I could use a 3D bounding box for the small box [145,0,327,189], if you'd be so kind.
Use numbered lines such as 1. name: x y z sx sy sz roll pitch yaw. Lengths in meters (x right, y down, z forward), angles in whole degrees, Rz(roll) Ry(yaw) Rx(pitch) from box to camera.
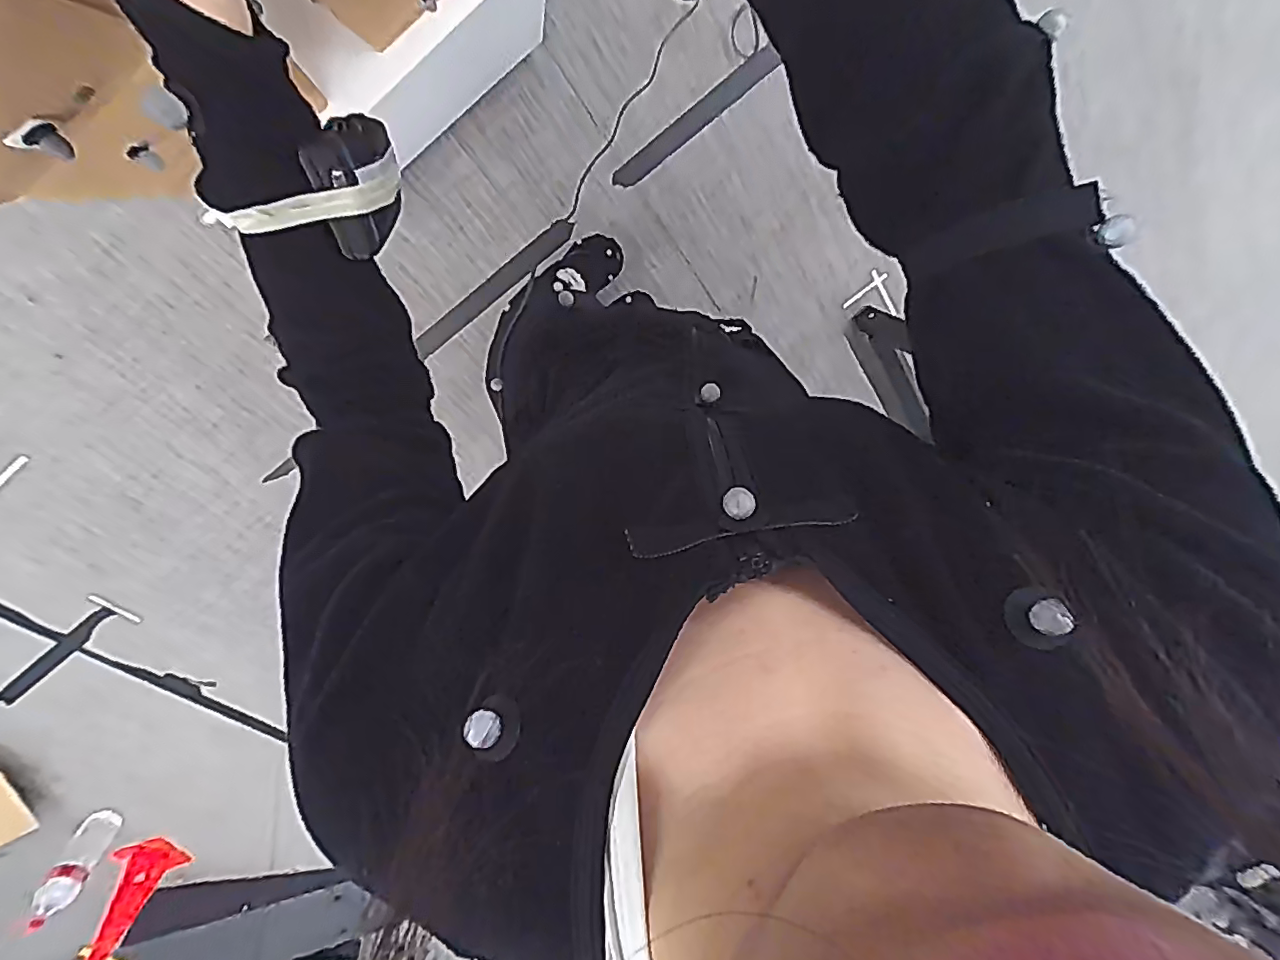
1. small box: -0.458 -0.413 0.531 0.168 0.176 0.179 -35 118 10

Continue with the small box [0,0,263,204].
1. small box: -0.429 -0.335 0.392 0.168 0.176 0.179 -37 119 10

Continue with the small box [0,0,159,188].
1. small box: -0.401 -0.259 0.251 0.168 0.176 0.179 -37 120 11
